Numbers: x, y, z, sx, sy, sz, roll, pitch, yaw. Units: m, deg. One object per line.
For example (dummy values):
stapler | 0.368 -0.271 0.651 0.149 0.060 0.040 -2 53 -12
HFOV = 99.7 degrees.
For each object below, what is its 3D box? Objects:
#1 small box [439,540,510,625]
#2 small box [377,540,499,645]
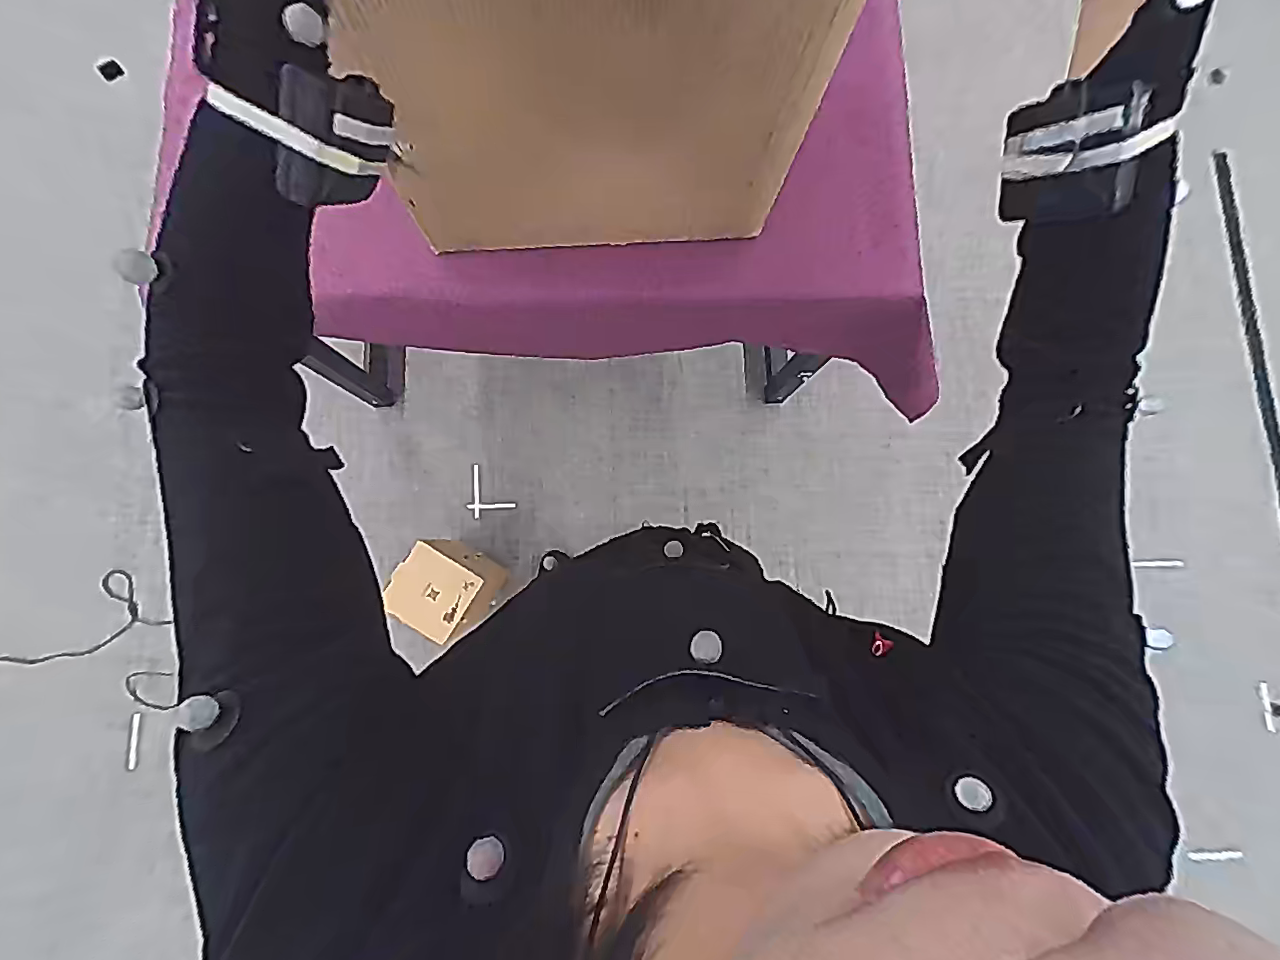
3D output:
small box | -0.465 0.272 1.407 0.179 0.176 0.168 30 82 1
small box | -0.454 0.254 1.245 0.179 0.176 0.168 32 82 2
